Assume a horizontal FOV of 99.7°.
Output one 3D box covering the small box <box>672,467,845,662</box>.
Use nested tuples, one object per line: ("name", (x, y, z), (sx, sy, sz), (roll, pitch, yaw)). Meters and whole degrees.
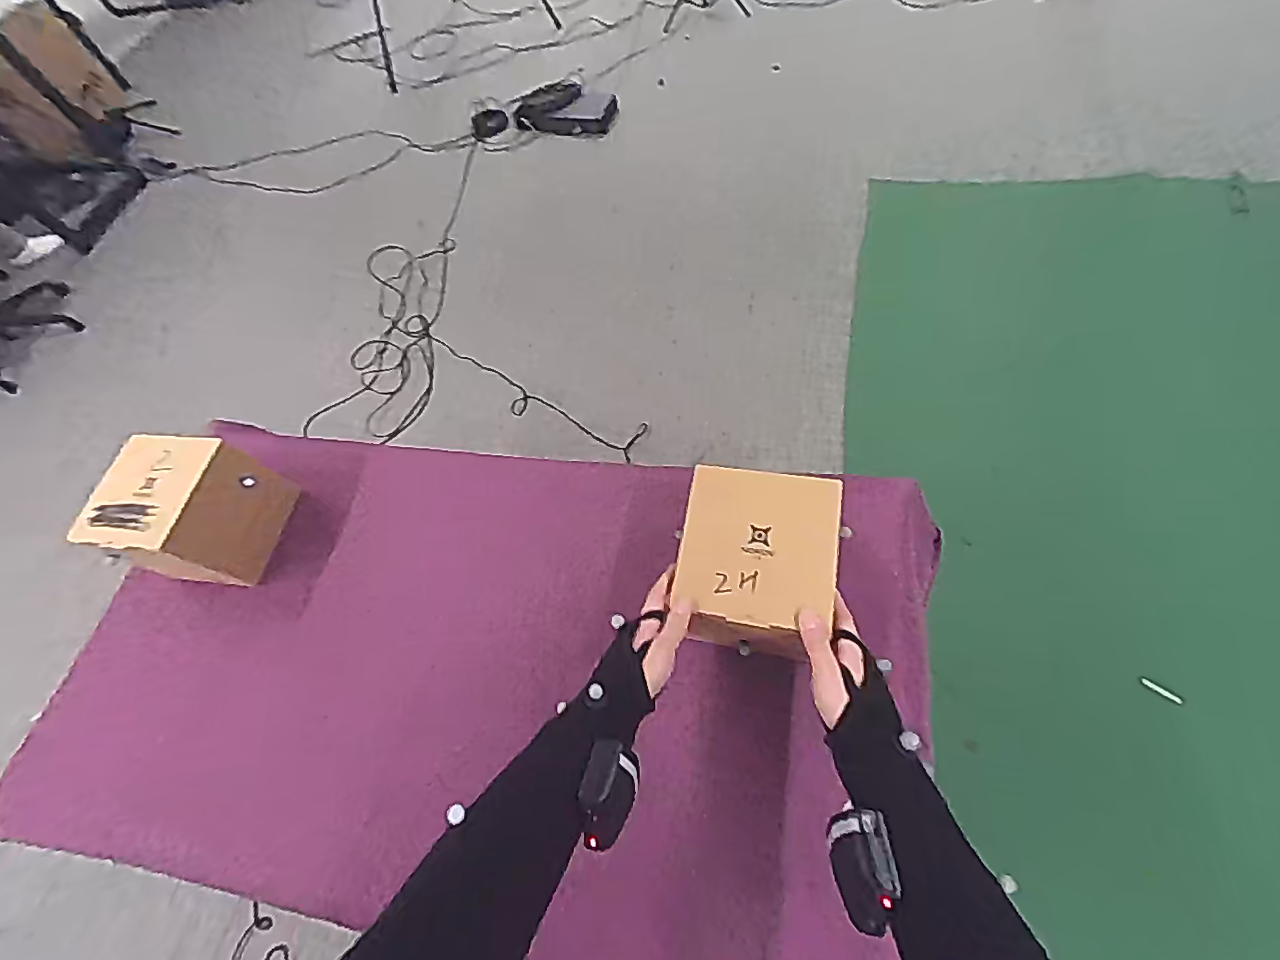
("small box", (0.142, 0.106, 0.653), (0.168, 0.176, 0.179), (8, 66, 15))
